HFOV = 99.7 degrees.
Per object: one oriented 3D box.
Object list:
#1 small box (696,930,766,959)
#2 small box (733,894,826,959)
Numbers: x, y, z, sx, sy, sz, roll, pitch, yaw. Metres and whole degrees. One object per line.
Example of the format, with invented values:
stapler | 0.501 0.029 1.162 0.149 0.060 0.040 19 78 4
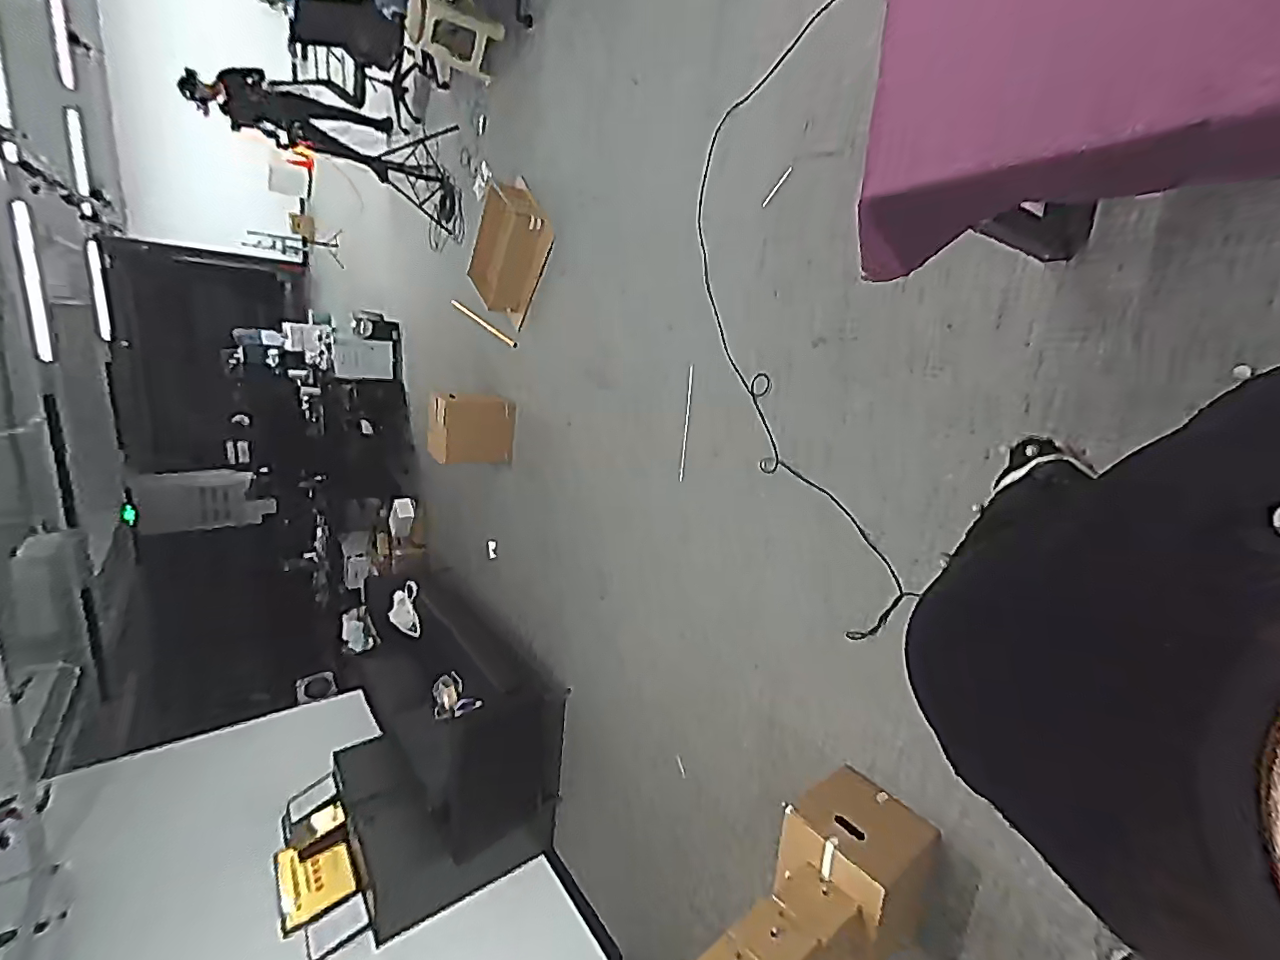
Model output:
small box | 0.221 1.222 1.255 0.168 0.176 0.179 6 100 50
small box | 0.350 1.205 1.358 0.168 0.176 0.179 7 101 51
